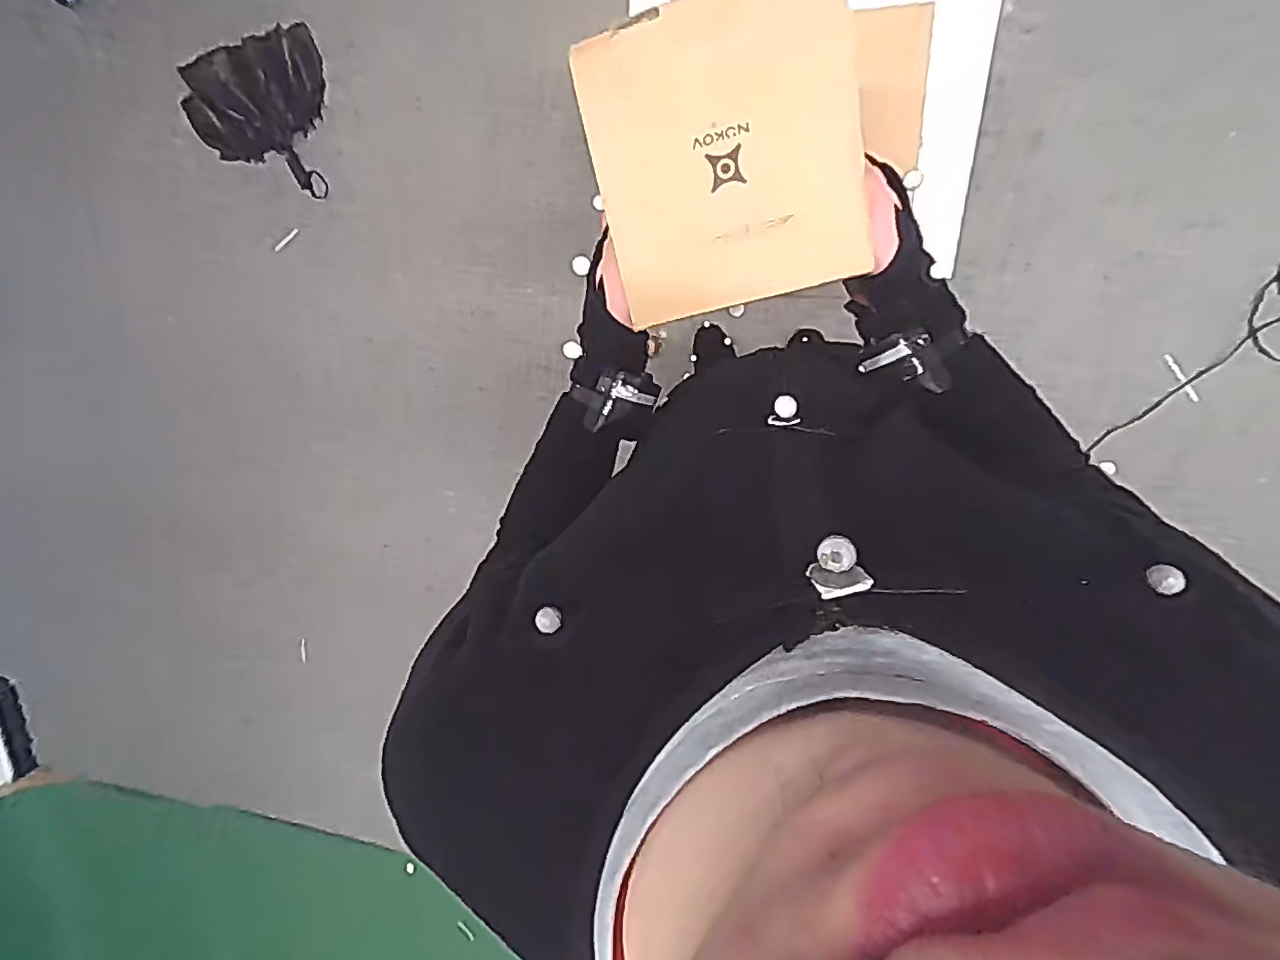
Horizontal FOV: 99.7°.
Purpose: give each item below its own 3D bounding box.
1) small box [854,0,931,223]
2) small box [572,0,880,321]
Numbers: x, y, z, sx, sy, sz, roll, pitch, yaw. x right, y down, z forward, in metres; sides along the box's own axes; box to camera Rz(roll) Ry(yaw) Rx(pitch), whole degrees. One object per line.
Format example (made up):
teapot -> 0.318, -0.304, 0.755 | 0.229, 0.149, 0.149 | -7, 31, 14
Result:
small box -> 0.191, -0.368, 0.586 | 0.168, 0.176, 0.179 | 2, 104, 9
small box -> 0.067, -0.233, 0.410 | 0.168, 0.176, 0.179 | -11, 110, 14
